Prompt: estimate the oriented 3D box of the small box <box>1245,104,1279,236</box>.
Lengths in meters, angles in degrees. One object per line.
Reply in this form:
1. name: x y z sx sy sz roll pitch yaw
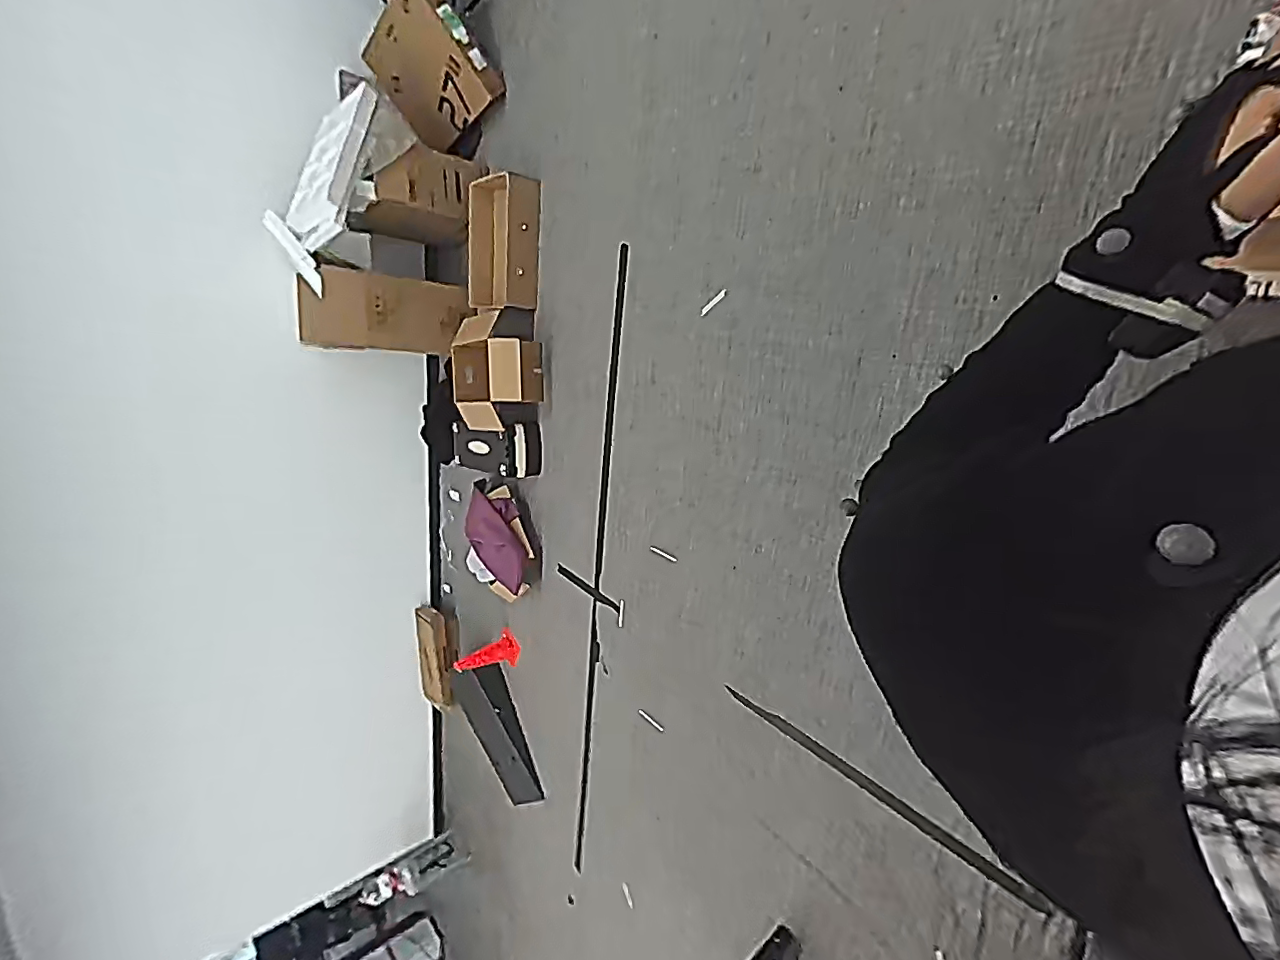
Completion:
1. small box: 0.756 -0.355 0.542 0.168 0.176 0.179 20 115 47
